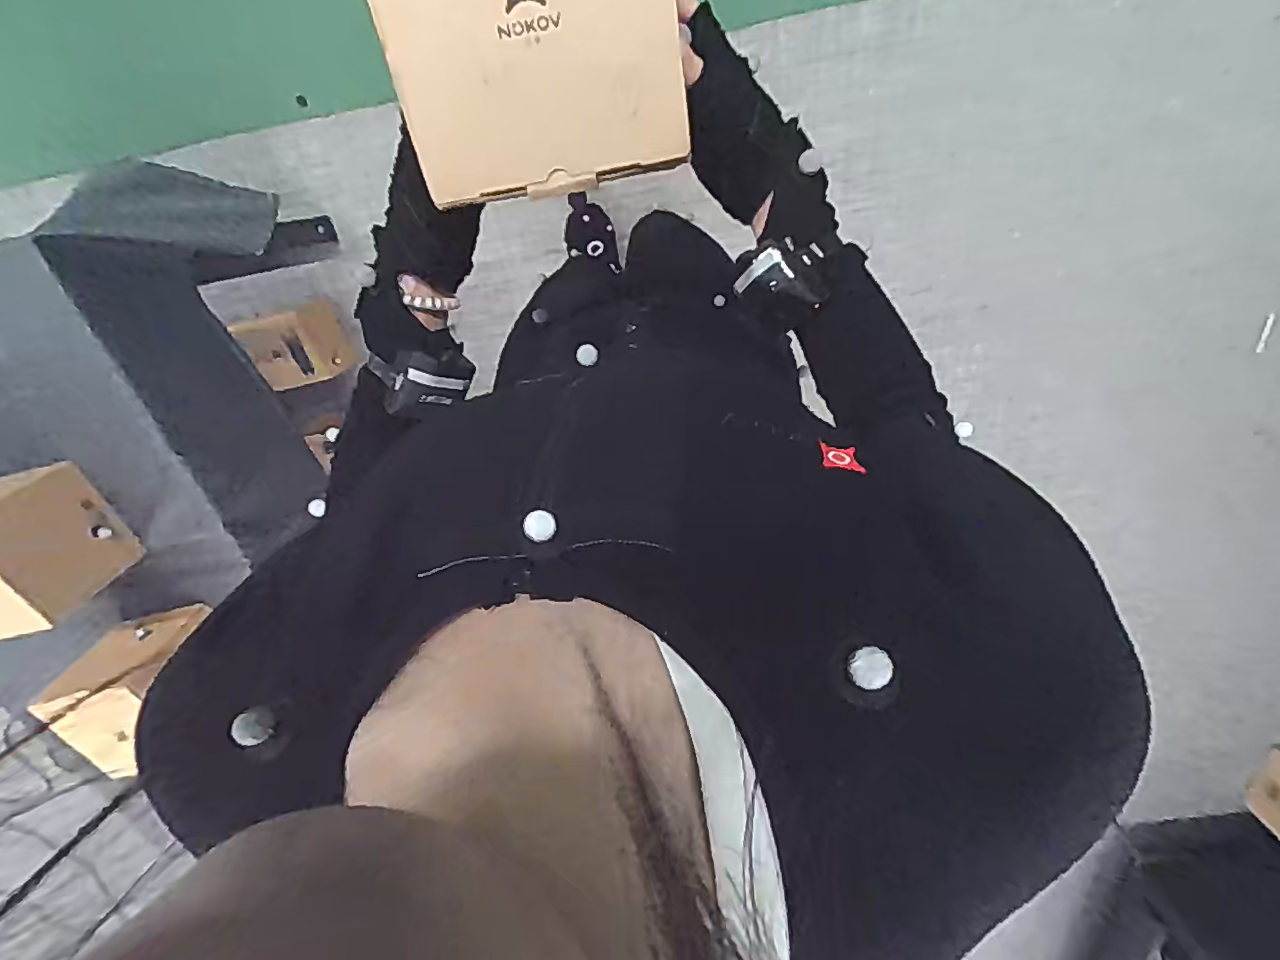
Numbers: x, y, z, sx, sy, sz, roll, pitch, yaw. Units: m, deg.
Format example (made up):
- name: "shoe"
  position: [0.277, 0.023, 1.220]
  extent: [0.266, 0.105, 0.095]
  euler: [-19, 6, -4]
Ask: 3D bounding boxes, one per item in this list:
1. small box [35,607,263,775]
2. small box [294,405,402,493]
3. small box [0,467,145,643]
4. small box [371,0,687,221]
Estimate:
- name: "small box"
  position: [-0.764, 0.335, 0.870]
  extent: [0.168, 0.176, 0.179]
  euler: [-14, 119, 6]
- name: "small box"
  position: [-0.778, -0.091, 1.461]
  extent: [0.168, 0.176, 0.179]
  euler: [-11, 120, 5]
- name: "small box"
  position: [-0.854, 0.103, 0.735]
  extent: [0.179, 0.176, 0.168]
  euler: [-12, 120, 5]
- name: "small box"
  position: [-0.061, -0.290, 0.364]
  extent: [0.168, 0.176, 0.179]
  euler: [-8, 120, 4]
